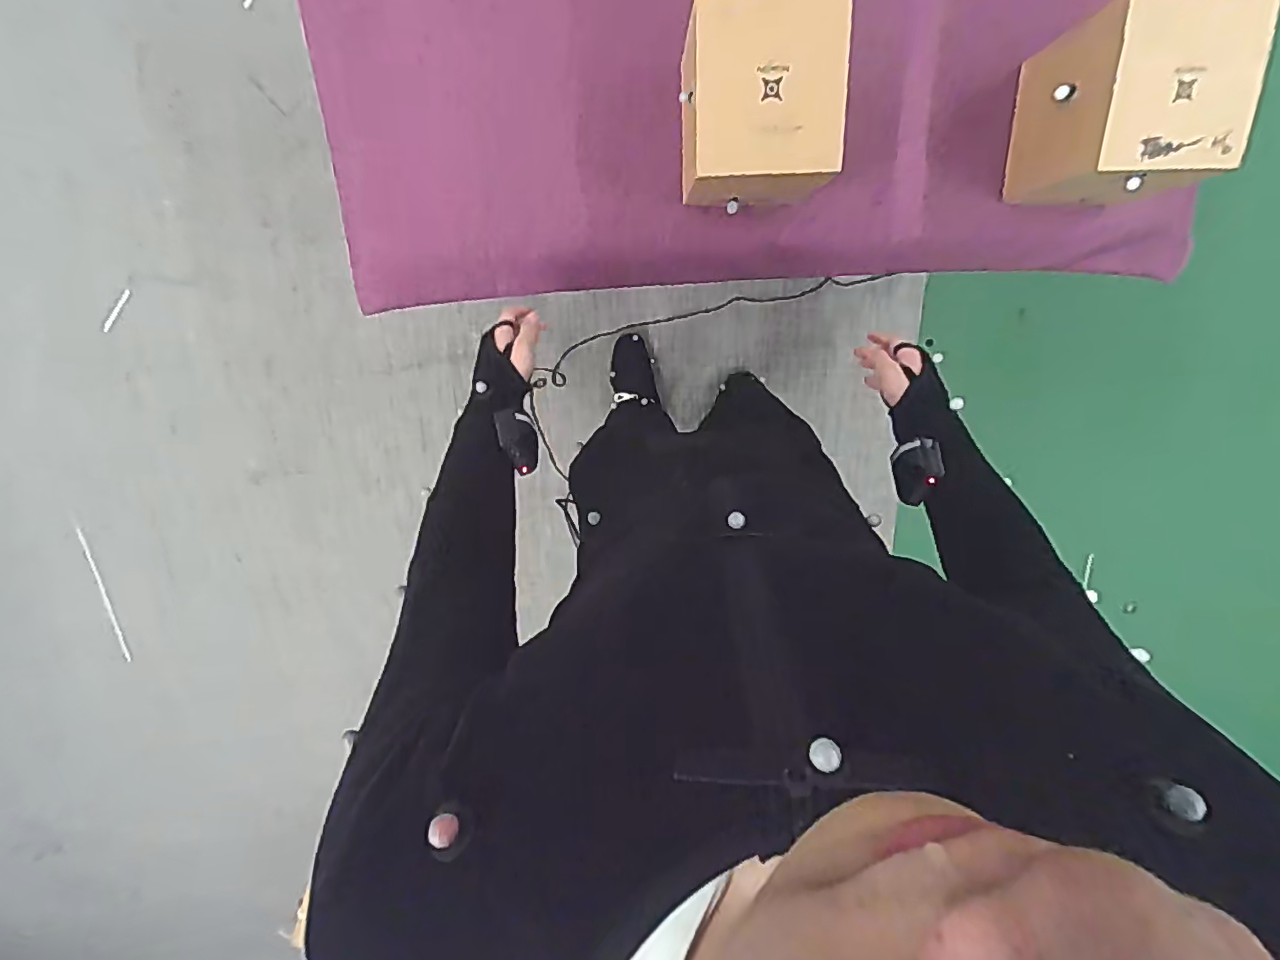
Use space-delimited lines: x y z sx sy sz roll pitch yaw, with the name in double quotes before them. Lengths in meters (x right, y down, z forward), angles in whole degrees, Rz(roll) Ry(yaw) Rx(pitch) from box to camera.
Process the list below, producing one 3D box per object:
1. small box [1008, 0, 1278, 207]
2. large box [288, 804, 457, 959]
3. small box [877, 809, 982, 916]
"small box" 0.595 -0.454 0.668 0.168 0.176 0.179 -1 104 0
"large box" -0.906 1.405 1.873 0.408 0.320 0.320 20 105 -9
"small box" 0.835 1.109 1.581 0.179 0.176 0.168 36 104 -11
